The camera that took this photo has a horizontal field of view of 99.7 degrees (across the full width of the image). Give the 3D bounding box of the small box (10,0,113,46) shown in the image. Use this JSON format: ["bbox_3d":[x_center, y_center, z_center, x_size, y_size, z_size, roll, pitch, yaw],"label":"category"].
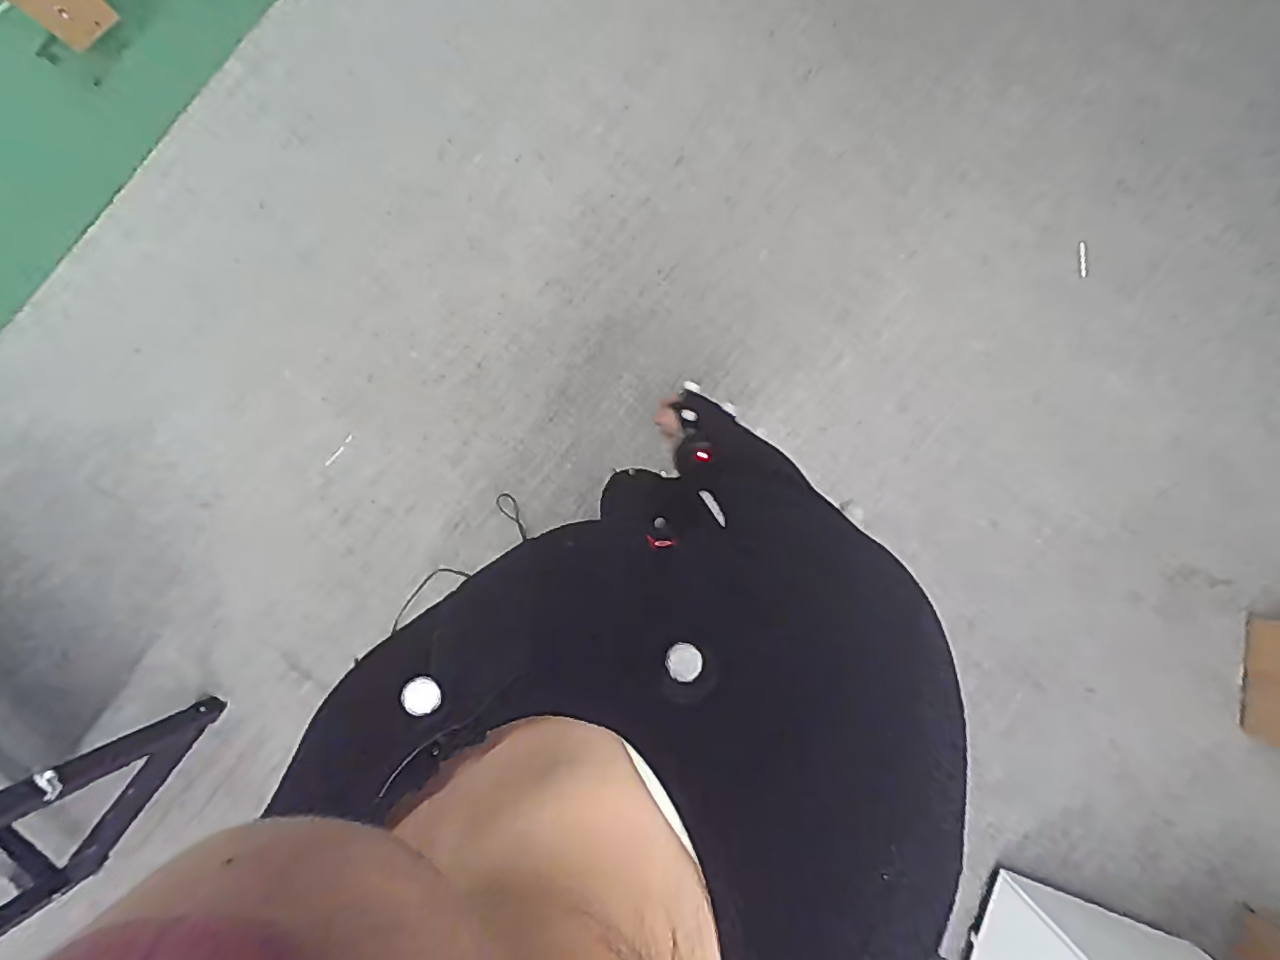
[{"bbox_3d":[-1.649,-1.368,1.503,0.168,0.176,0.179,-44,88,-1],"label":"small box"}]
